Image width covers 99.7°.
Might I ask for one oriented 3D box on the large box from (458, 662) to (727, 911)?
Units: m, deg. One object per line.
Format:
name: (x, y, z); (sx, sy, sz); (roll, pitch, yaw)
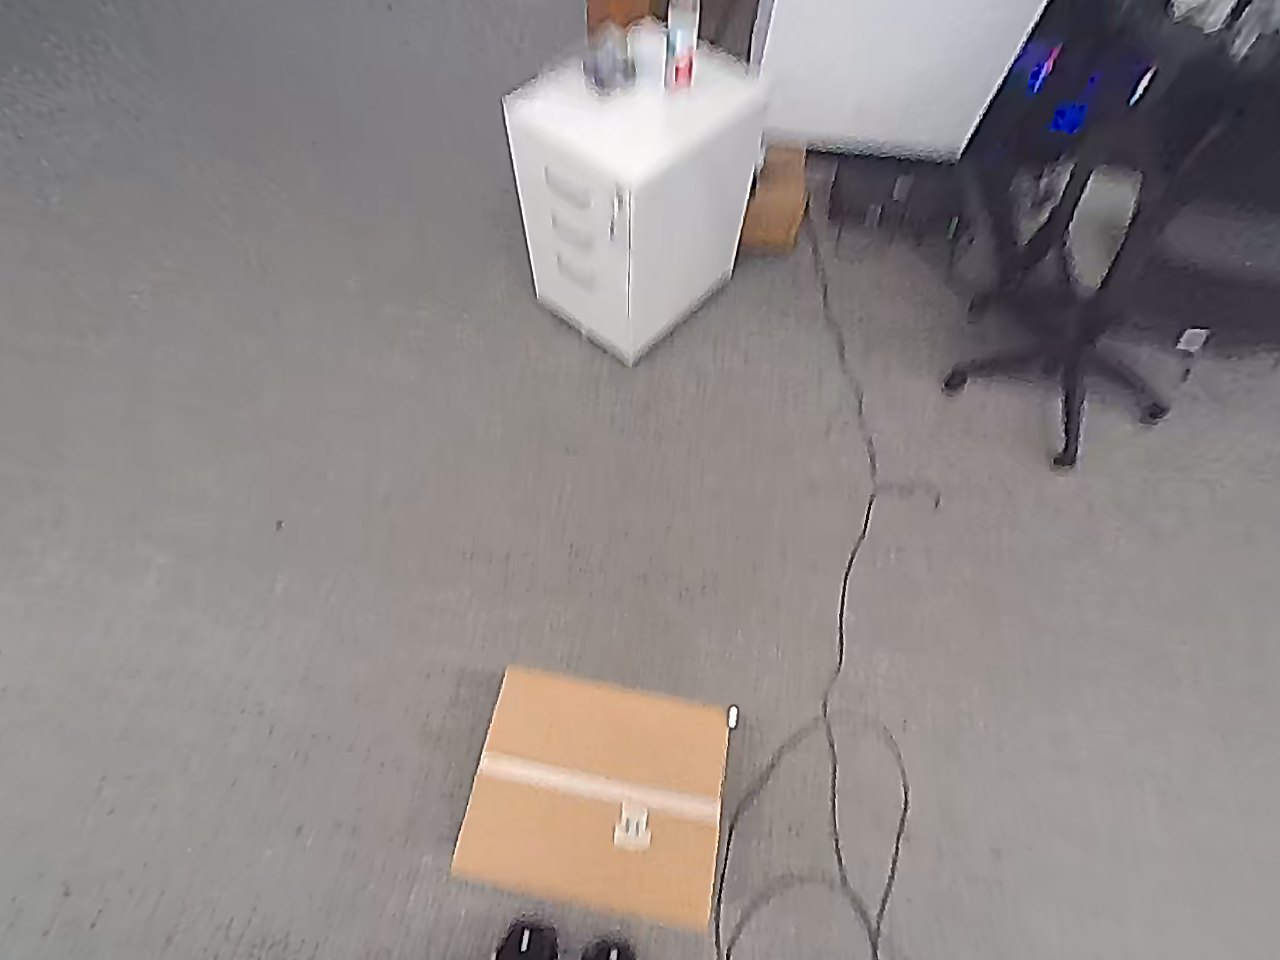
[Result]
large box: (-0.073, 0.561, 1.032); (0.408, 0.320, 0.320); (11, 64, 2)
